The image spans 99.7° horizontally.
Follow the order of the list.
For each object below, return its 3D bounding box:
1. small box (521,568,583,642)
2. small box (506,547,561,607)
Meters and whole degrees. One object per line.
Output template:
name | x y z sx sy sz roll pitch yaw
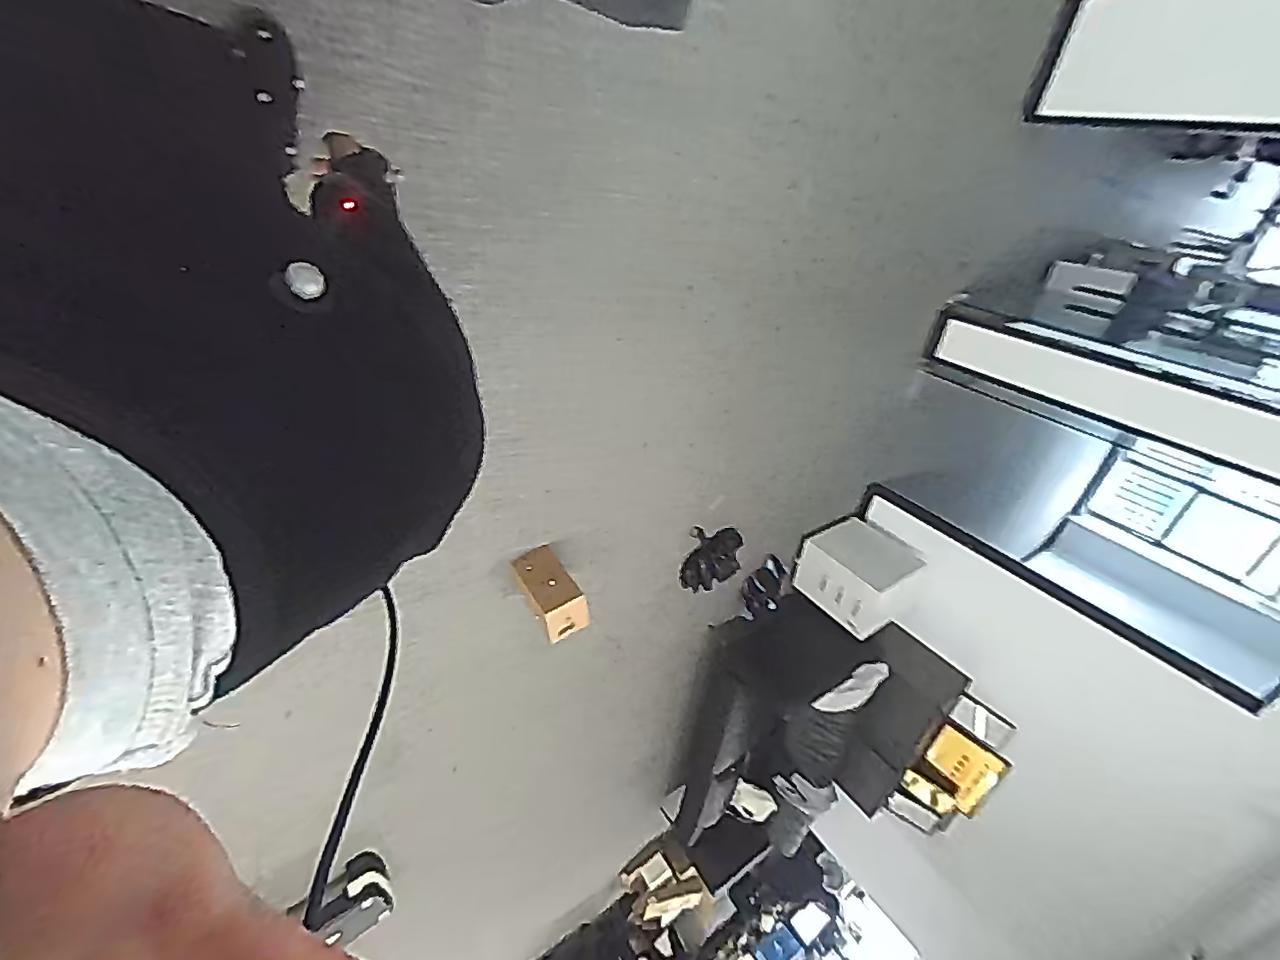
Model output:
small box | -0.334 0.471 2.055 0.168 0.176 0.179 -24 132 -26
small box | -0.423 0.391 2.168 0.168 0.176 0.179 -25 135 -25
